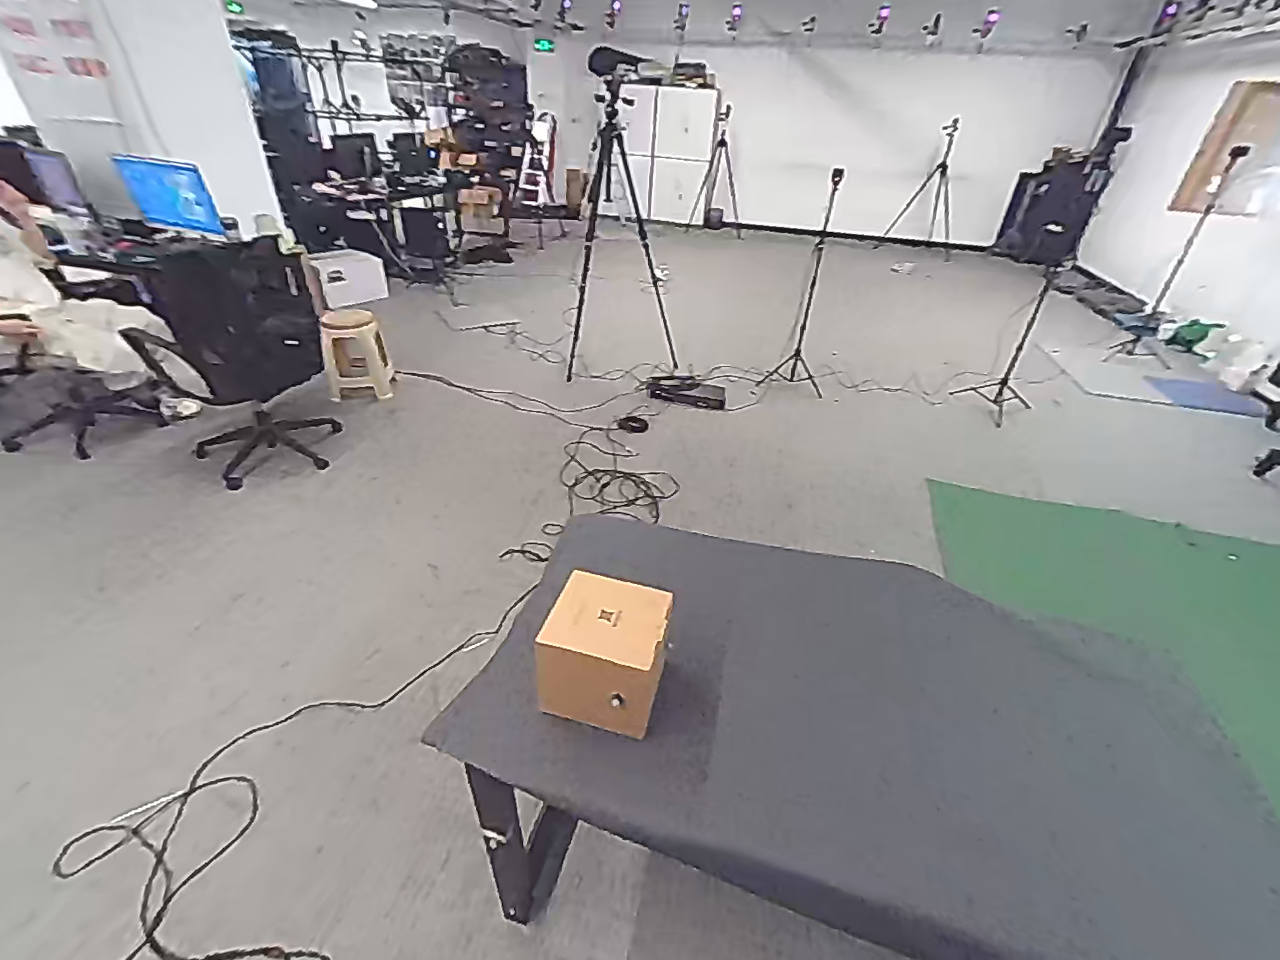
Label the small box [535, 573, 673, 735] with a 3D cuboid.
[{"bbox_3d":[-0.053,0.280,0.875,0.179,0.176,0.168,10,32,11],"label":"small box"}]
